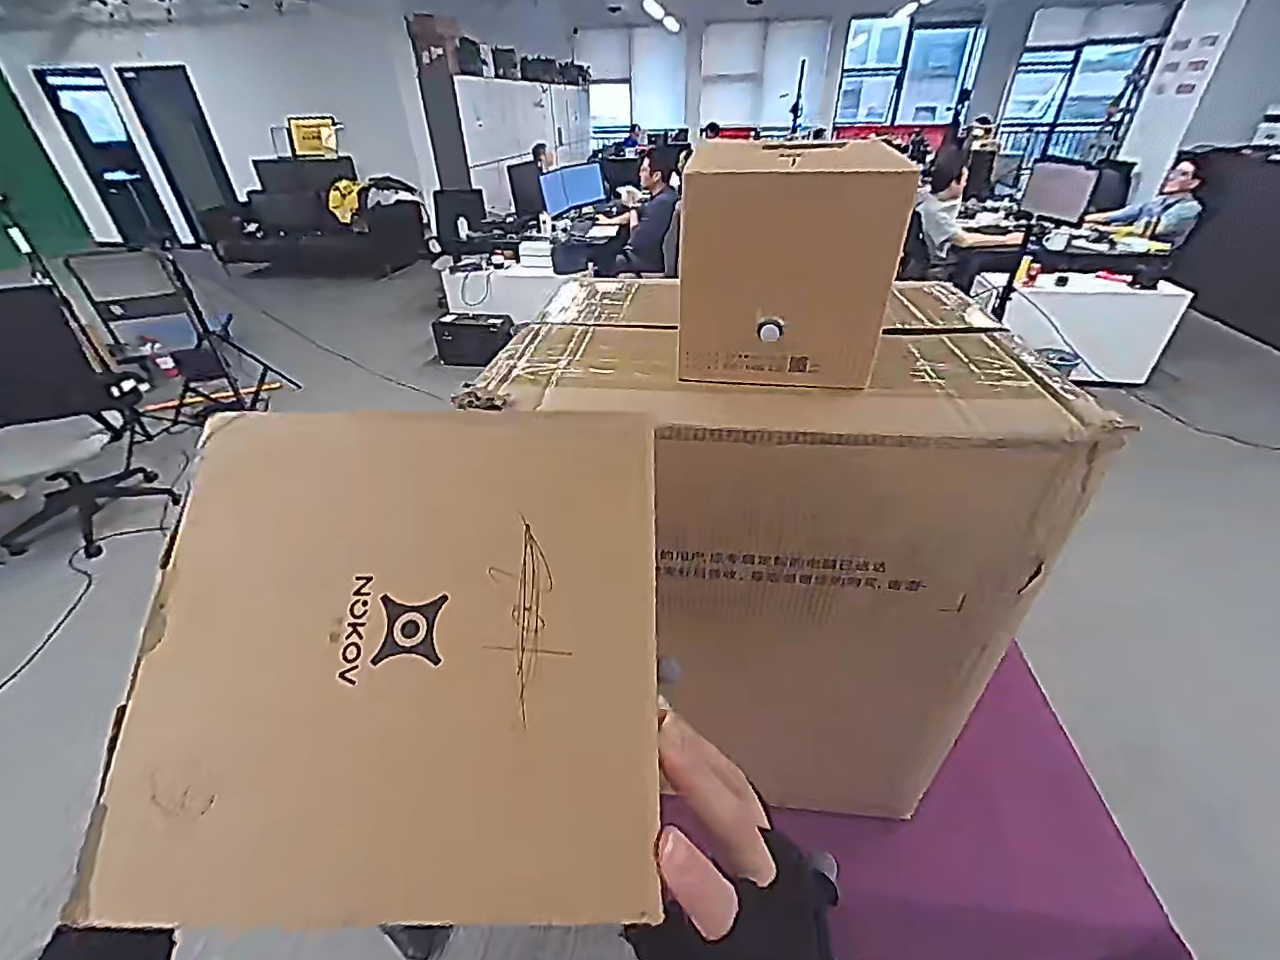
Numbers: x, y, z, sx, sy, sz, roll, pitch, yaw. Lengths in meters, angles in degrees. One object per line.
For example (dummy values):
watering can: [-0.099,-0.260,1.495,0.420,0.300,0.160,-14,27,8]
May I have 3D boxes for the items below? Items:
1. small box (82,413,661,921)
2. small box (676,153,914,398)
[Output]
small box: [-0.080,0.078,0.261,0.179,0.176,0.168,-1,72,-1]
small box: [0.123,-0.192,0.494,0.168,0.176,0.179,4,37,9]
